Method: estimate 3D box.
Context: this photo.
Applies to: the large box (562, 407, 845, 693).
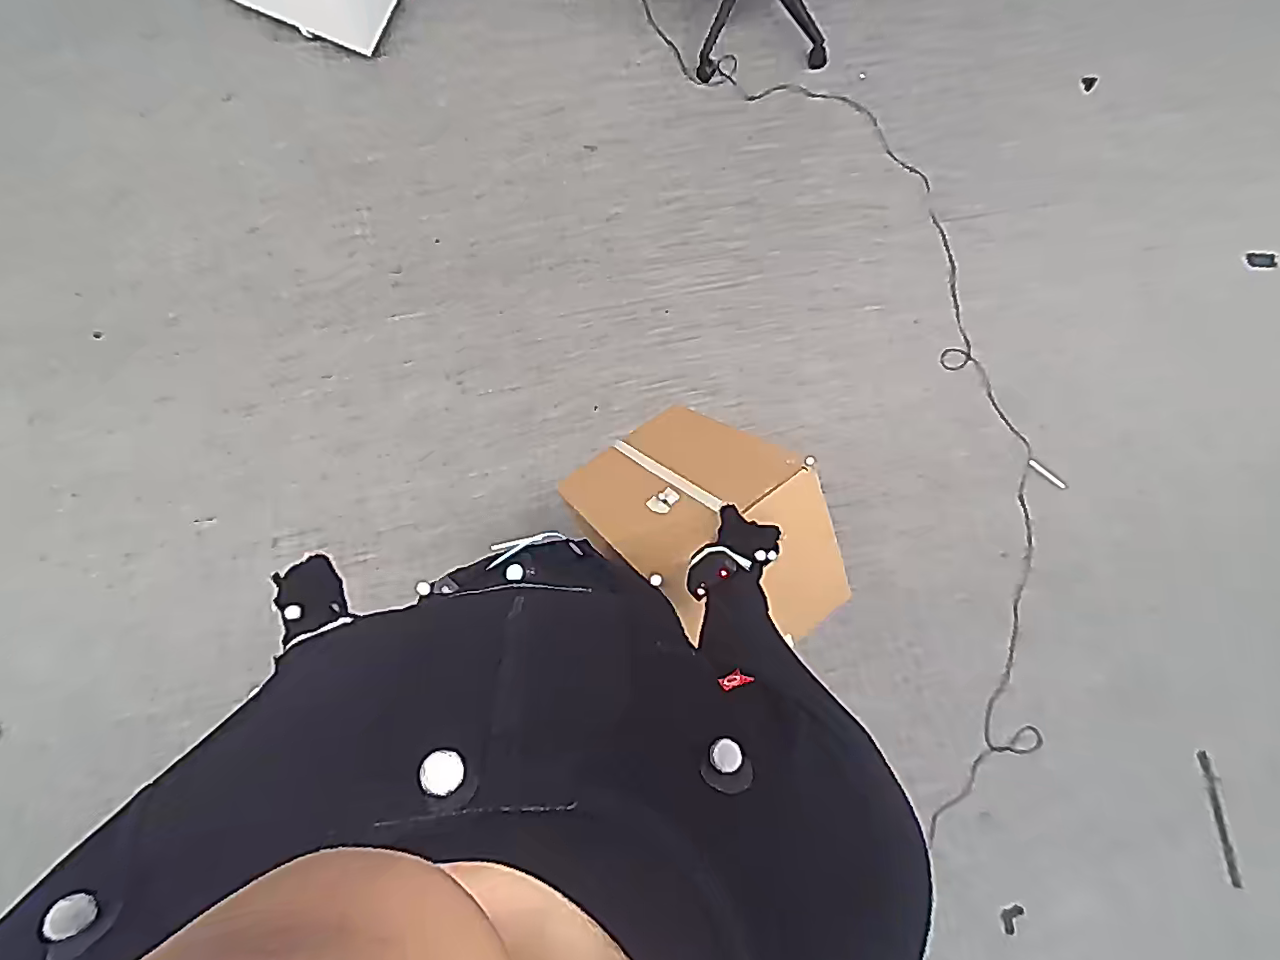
[{"bbox_3d":[0.111,0.107,1.034,0.320,0.408,0.320,-36,123,-12],"label":"large box"}]
